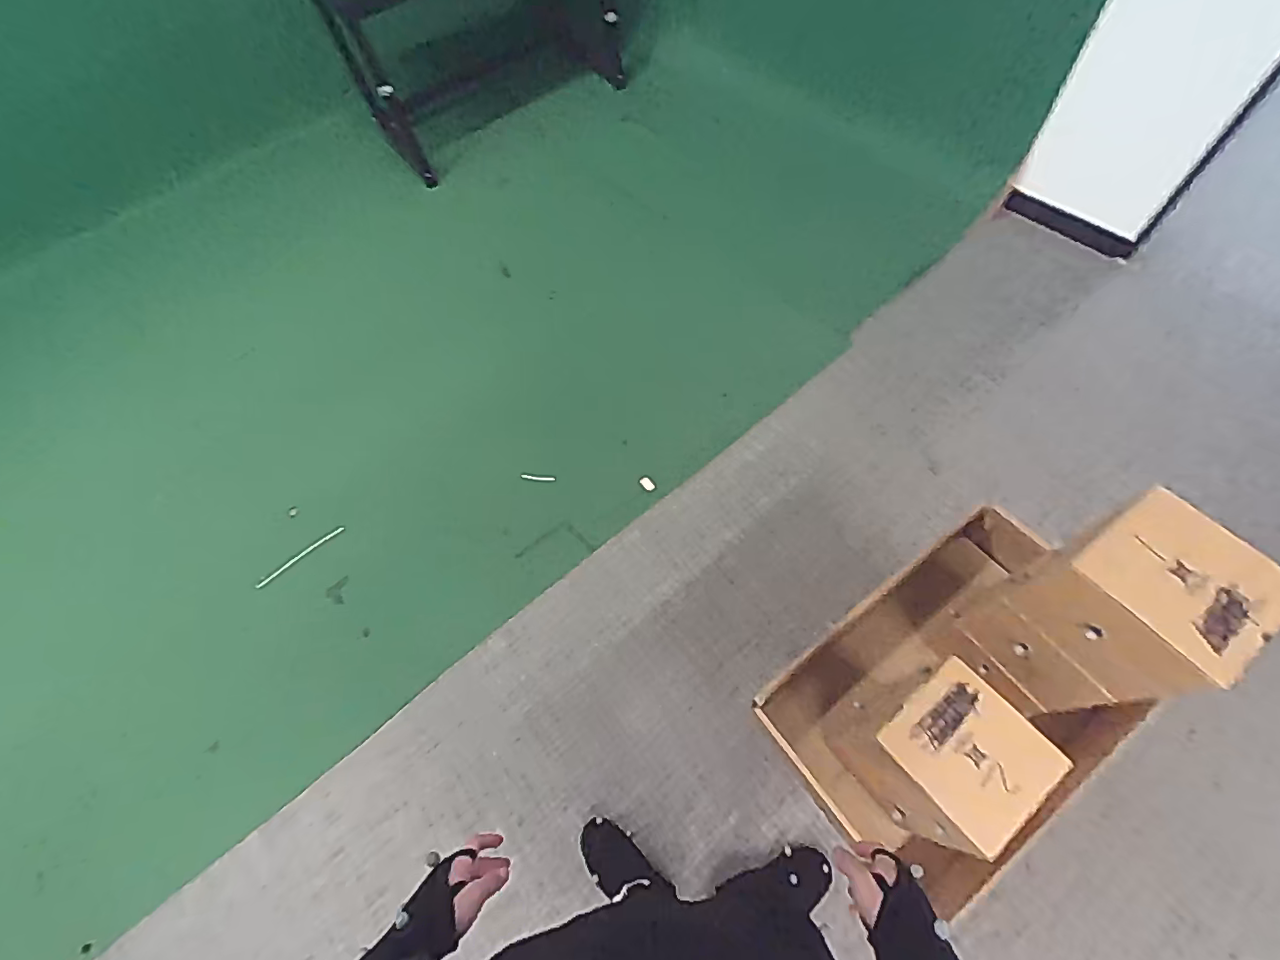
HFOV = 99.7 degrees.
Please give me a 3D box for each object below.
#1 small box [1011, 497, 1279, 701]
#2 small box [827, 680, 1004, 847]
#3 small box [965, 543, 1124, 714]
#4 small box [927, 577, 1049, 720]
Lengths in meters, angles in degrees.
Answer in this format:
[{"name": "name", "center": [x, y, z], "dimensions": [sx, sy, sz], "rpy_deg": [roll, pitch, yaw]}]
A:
[{"name": "small box", "center": [0.631, 0.159, 0.683], "dimensions": [0.168, 0.176, 0.179], "rpy_deg": [-35, 63, -11]}, {"name": "small box", "center": [0.448, 0.468, 0.910], "dimensions": [0.168, 0.176, 0.179], "rpy_deg": [-36, 64, -13]}, {"name": "small box", "center": [0.648, 0.234, 0.830], "dimensions": [0.168, 0.176, 0.179], "rpy_deg": [-34, 63, -10]}, {"name": "small box", "center": [0.662, 0.309, 0.975], "dimensions": [0.168, 0.176, 0.179], "rpy_deg": [-33, 65, -10]}]
